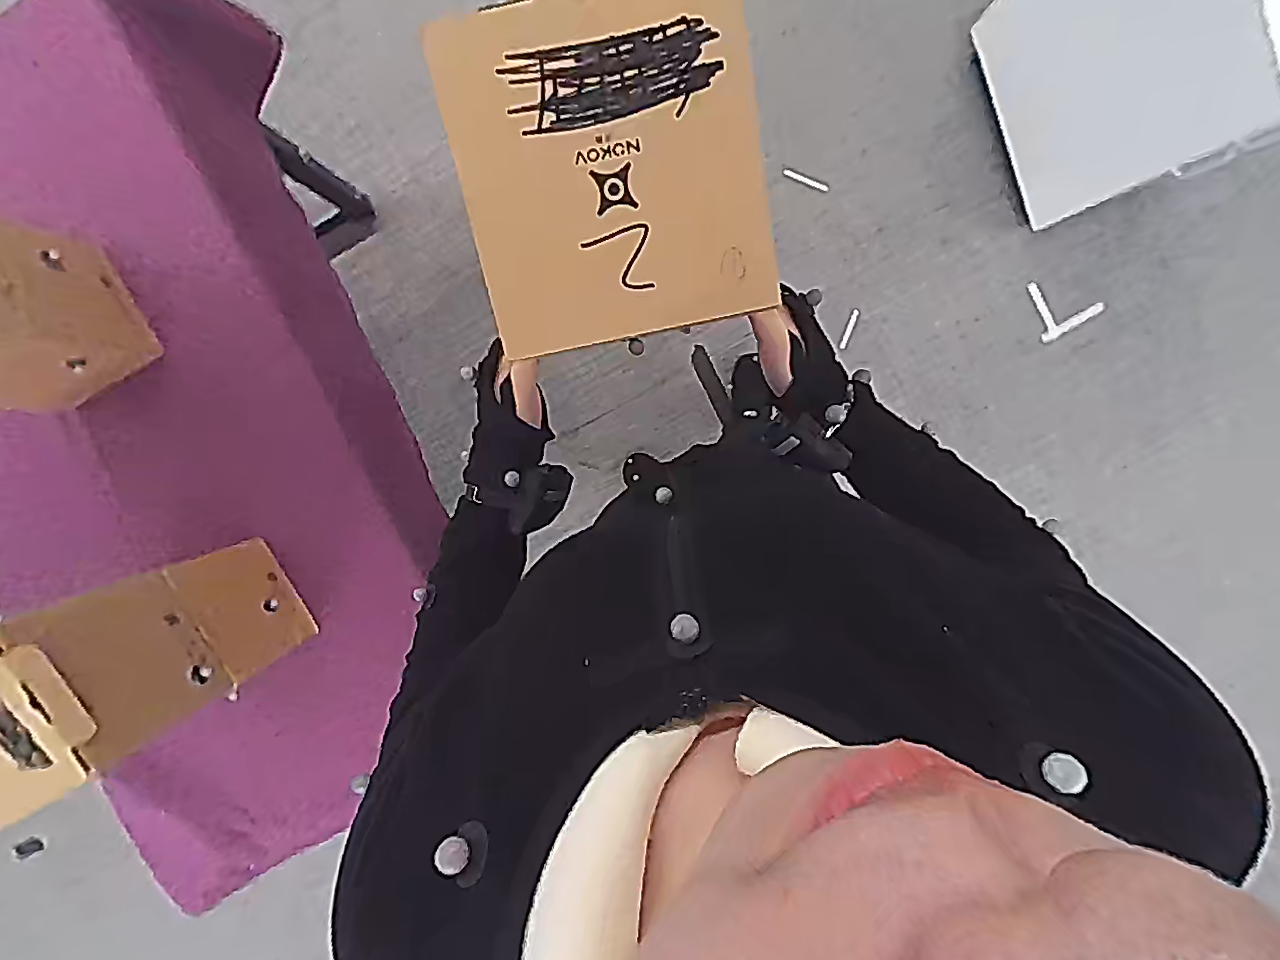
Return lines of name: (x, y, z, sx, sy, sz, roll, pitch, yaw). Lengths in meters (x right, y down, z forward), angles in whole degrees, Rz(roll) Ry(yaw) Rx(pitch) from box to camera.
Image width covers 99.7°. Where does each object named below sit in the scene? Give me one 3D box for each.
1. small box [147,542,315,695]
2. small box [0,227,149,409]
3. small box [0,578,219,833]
small box: (-0.595, 0.205, 0.731, 0.179, 0.176, 0.168, -29, 96, 4)
small box: (-0.783, -0.200, 0.681, 0.179, 0.176, 0.168, -28, 96, 5)
small box: (-0.599, 0.228, 0.569, 0.179, 0.176, 0.168, -30, 95, 5)
